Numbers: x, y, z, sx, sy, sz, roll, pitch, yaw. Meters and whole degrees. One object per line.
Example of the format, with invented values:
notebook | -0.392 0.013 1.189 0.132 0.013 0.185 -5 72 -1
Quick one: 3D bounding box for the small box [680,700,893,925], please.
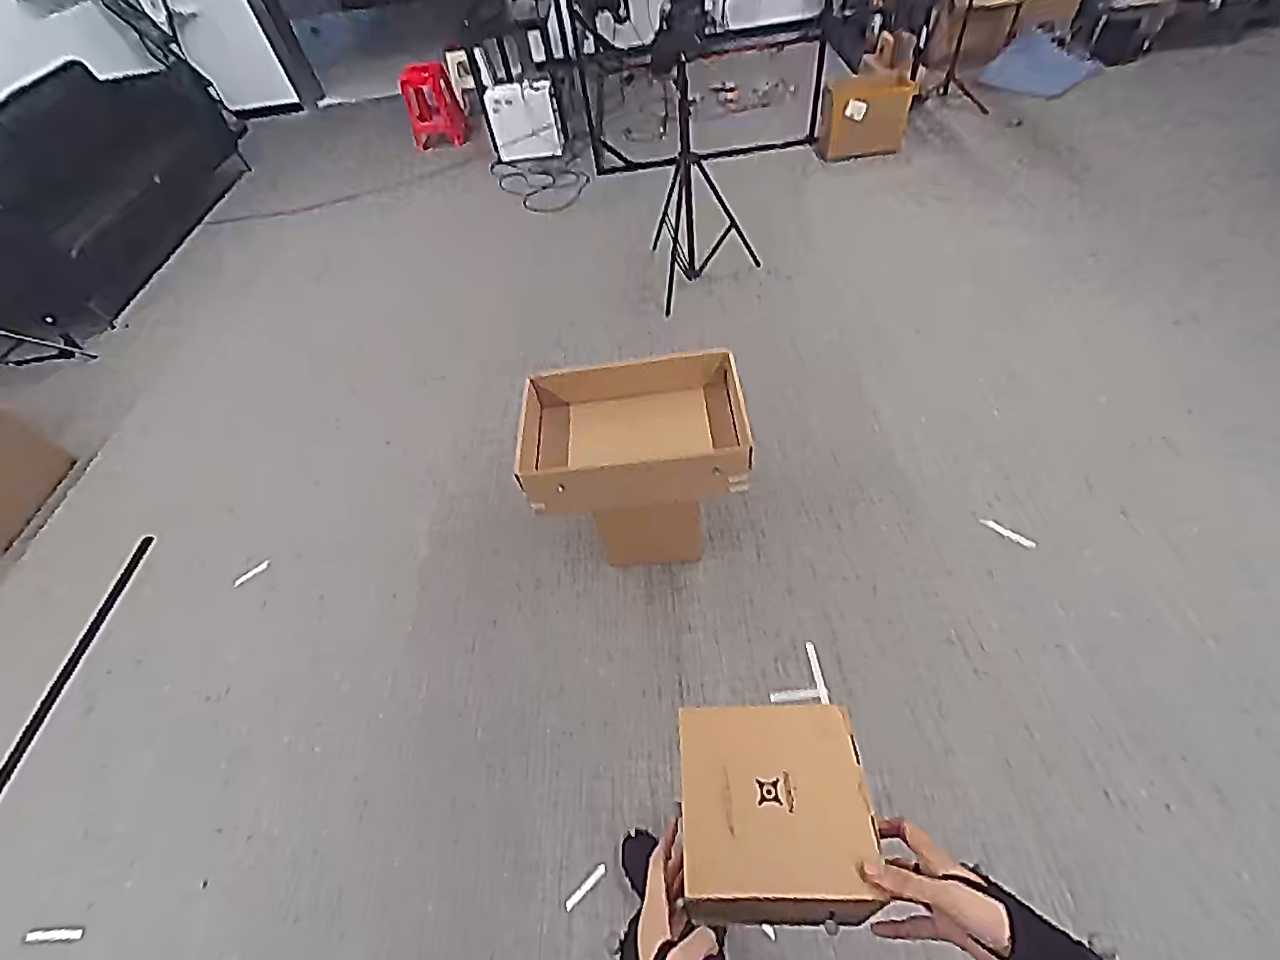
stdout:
small box | 0.135 0.350 0.570 0.179 0.176 0.168 -4 43 4
